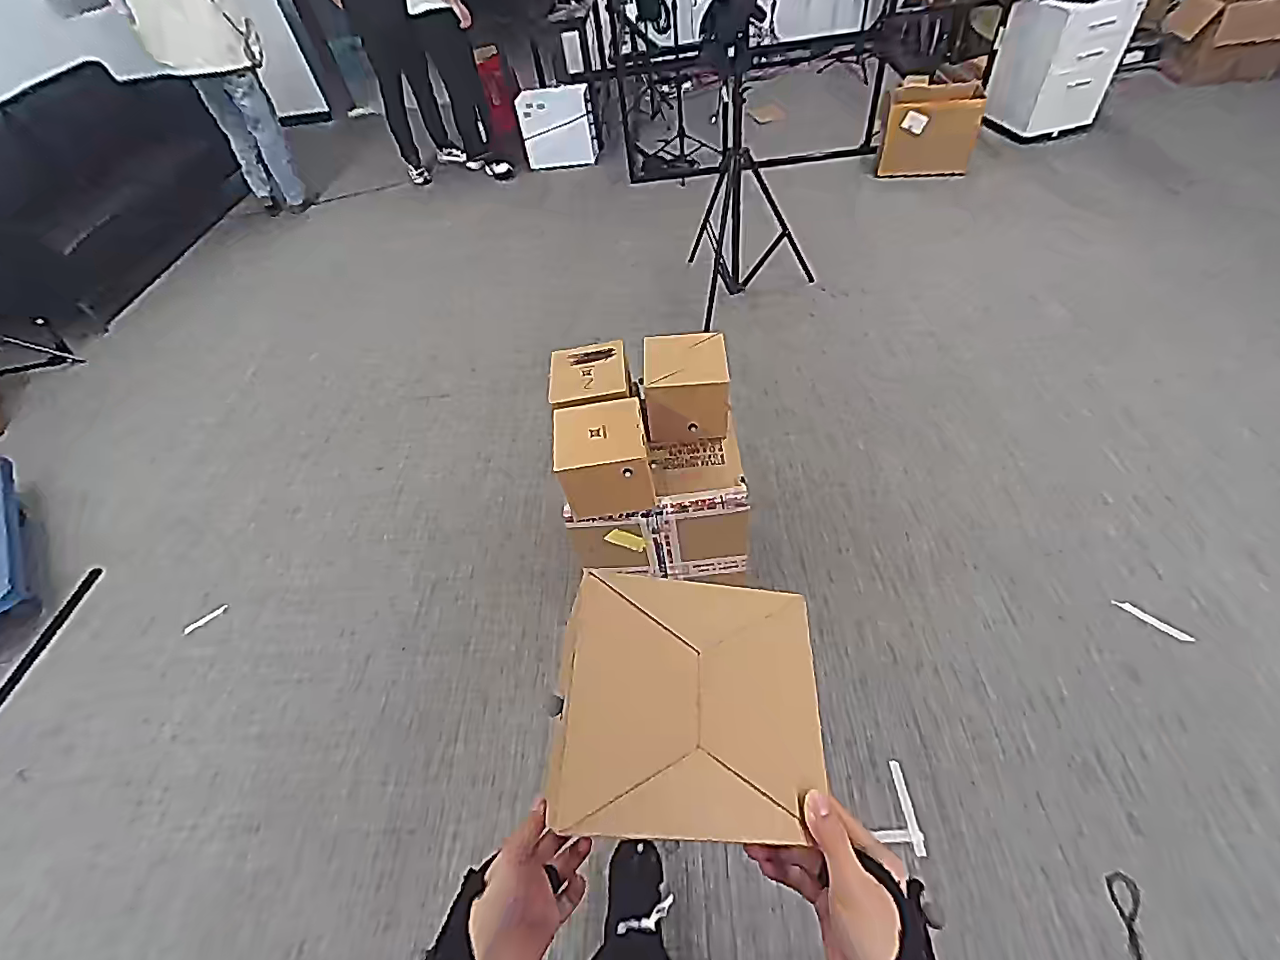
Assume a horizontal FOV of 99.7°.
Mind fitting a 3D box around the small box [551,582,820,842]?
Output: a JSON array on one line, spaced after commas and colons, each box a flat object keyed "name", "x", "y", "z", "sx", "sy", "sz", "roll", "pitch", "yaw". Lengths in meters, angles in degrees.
[{"name": "small box", "x": 0.026, "y": 0.195, "z": 0.448, "sx": 0.179, "sy": 0.176, "sz": 0.168, "roll": 9, "pitch": 58, "yaw": -9}]
